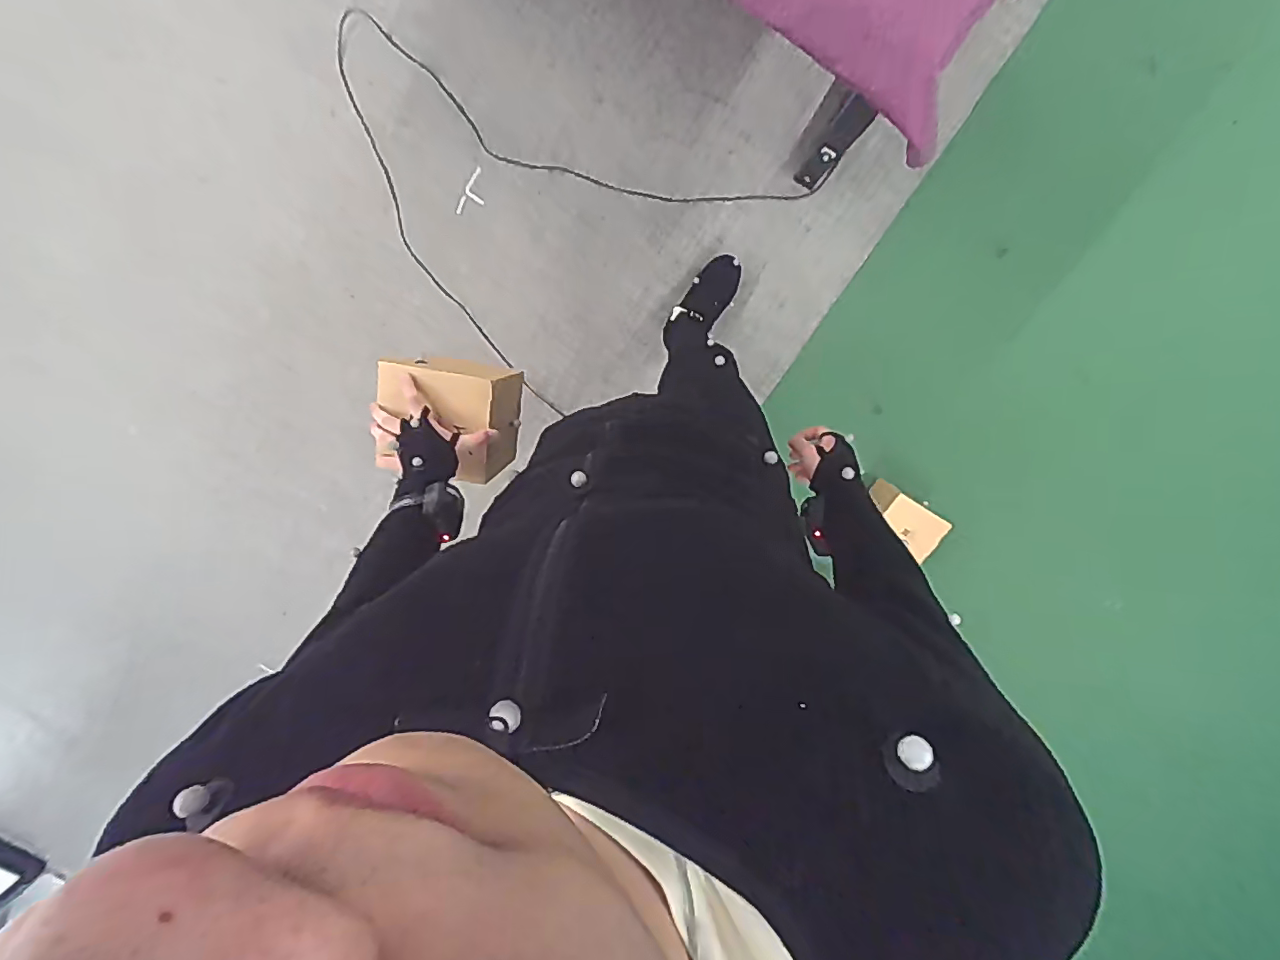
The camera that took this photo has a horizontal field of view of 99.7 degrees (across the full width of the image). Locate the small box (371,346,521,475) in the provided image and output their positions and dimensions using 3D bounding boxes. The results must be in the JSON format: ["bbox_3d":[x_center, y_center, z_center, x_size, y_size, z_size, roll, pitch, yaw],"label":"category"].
[{"bbox_3d":[-0.310,-0.122,0.884,0.179,0.176,0.168,10,108,1],"label":"small box"}]

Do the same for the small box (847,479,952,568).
[{"bbox_3d":[0.720,0.113,1.526,0.179,0.176,0.168,31,106,-5],"label":"small box"}]
